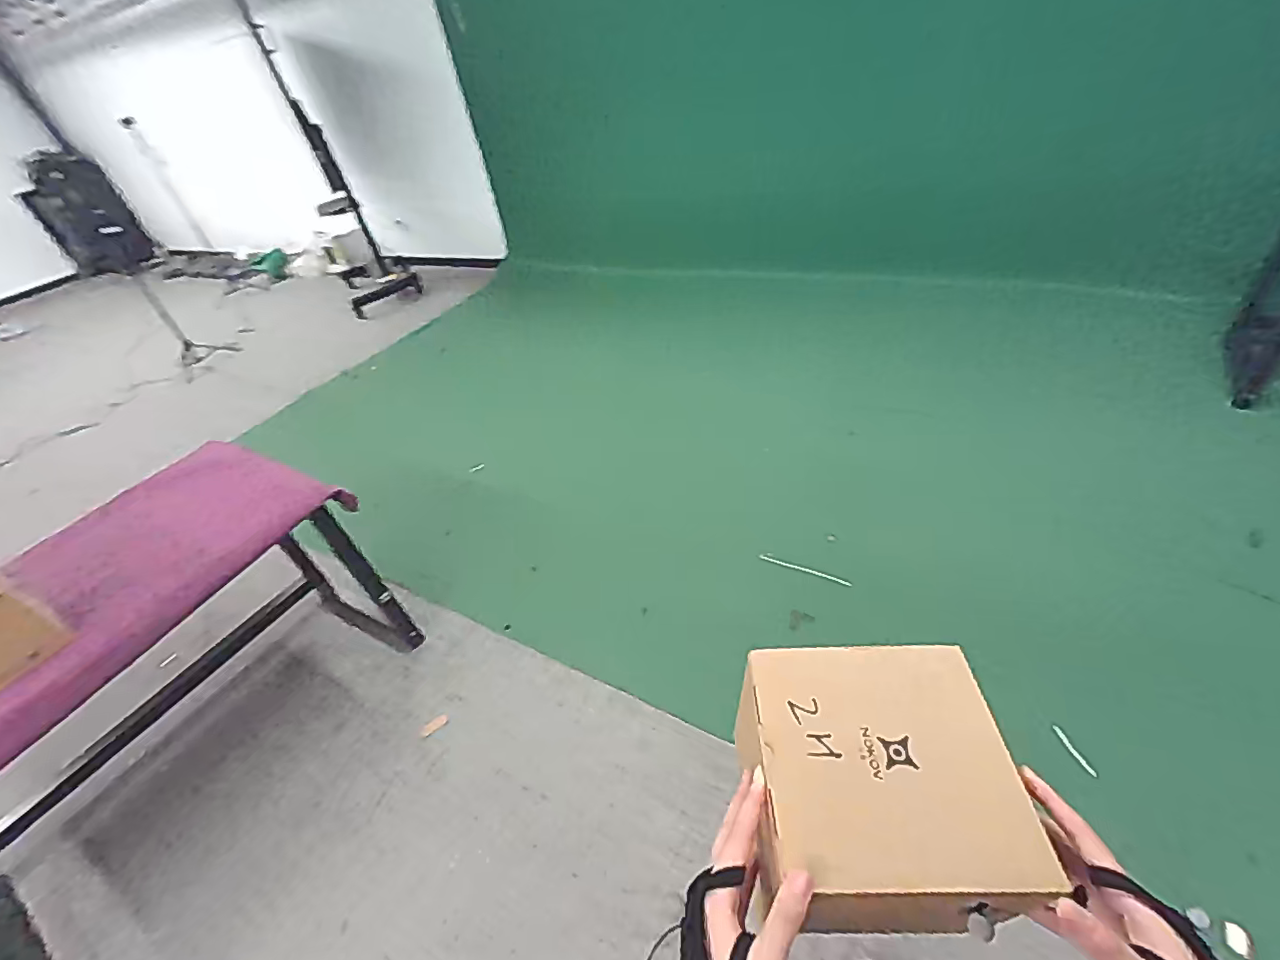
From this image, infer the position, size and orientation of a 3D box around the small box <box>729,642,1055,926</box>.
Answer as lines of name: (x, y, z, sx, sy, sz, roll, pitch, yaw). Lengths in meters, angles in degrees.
small box: (0.175, 0.251, 0.447, 0.179, 0.176, 0.168, -2, 44, 2)

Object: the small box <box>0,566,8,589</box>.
small box: (-1.349, 0.171, 0.999, 0.179, 0.176, 0.168, 15, 47, 30)
